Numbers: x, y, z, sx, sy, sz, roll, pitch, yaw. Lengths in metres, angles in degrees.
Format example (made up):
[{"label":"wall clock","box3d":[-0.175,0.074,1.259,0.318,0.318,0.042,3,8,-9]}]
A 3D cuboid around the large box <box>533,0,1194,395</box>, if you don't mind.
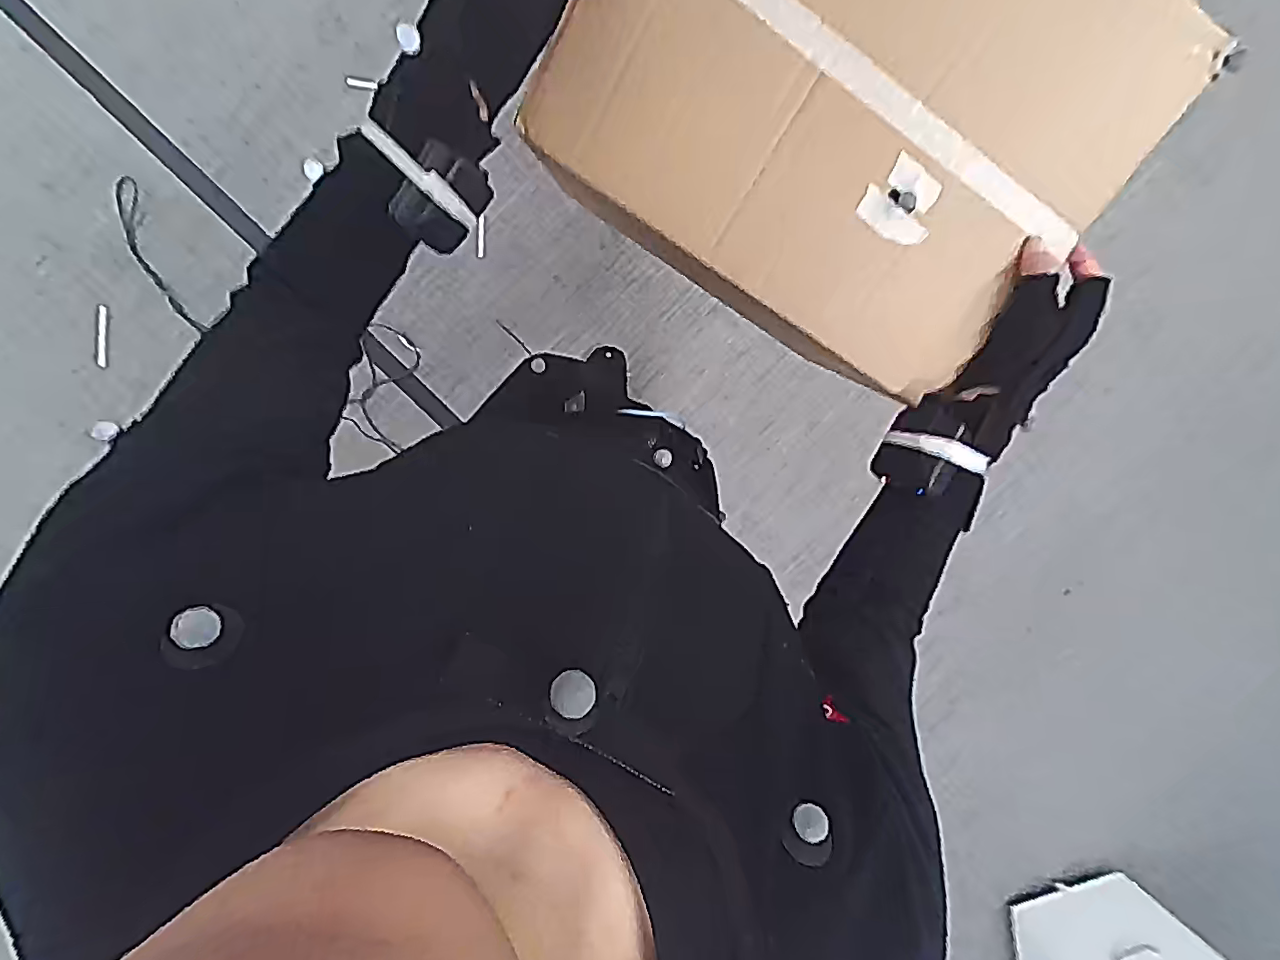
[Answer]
[{"label":"large box","box3d":[0.157,-0.342,0.538,0.408,0.320,0.320,29,108,-13]}]
